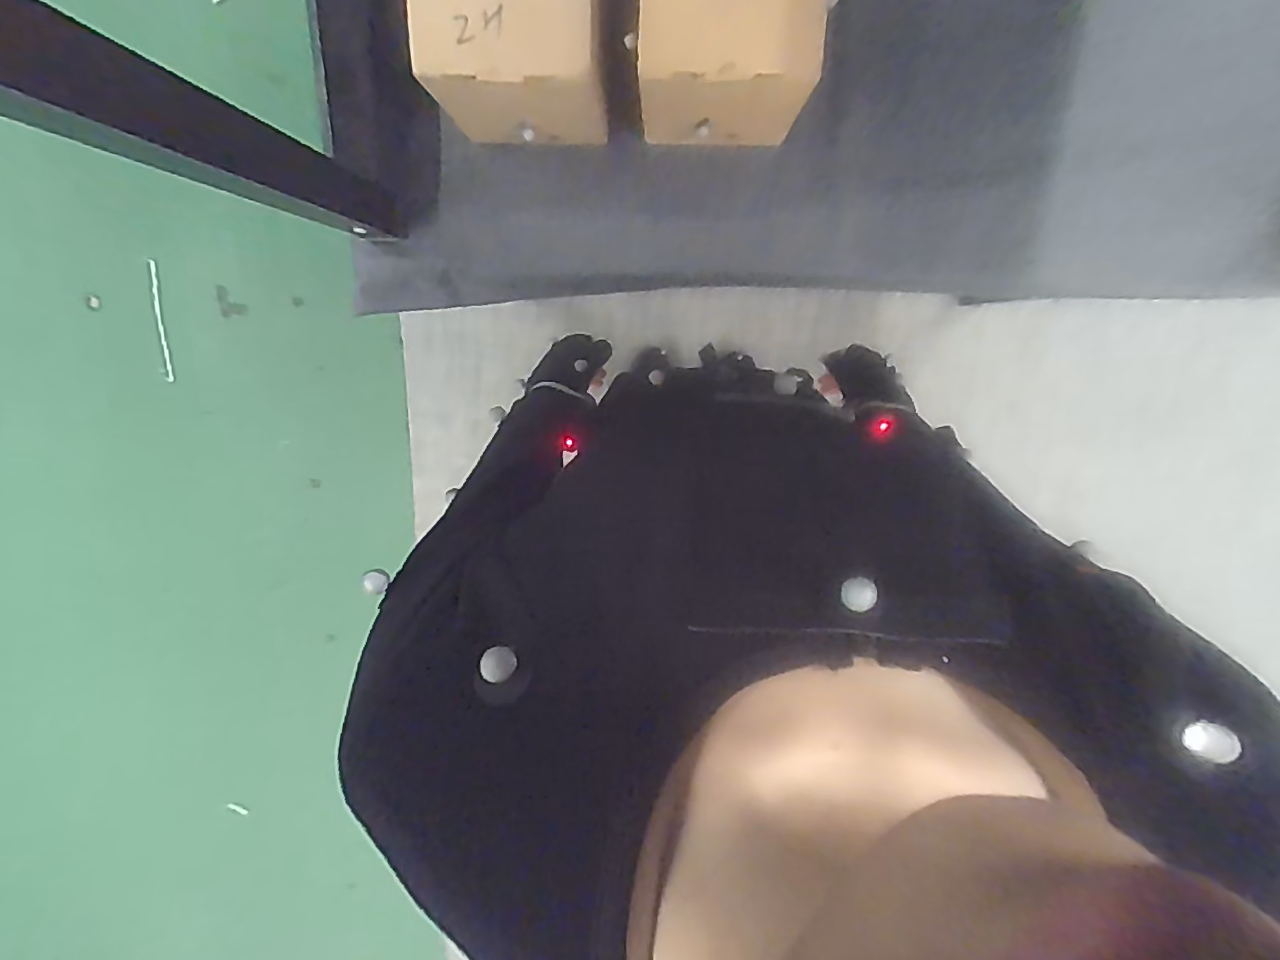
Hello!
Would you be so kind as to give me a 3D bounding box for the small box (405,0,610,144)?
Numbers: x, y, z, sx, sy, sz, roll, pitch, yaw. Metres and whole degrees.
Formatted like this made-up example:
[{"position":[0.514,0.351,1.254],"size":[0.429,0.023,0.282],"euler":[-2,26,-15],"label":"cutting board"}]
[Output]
[{"position":[-0.121,-0.470,0.546],"size":[0.168,0.176,0.179],"euler":[2,104,2],"label":"small box"}]
